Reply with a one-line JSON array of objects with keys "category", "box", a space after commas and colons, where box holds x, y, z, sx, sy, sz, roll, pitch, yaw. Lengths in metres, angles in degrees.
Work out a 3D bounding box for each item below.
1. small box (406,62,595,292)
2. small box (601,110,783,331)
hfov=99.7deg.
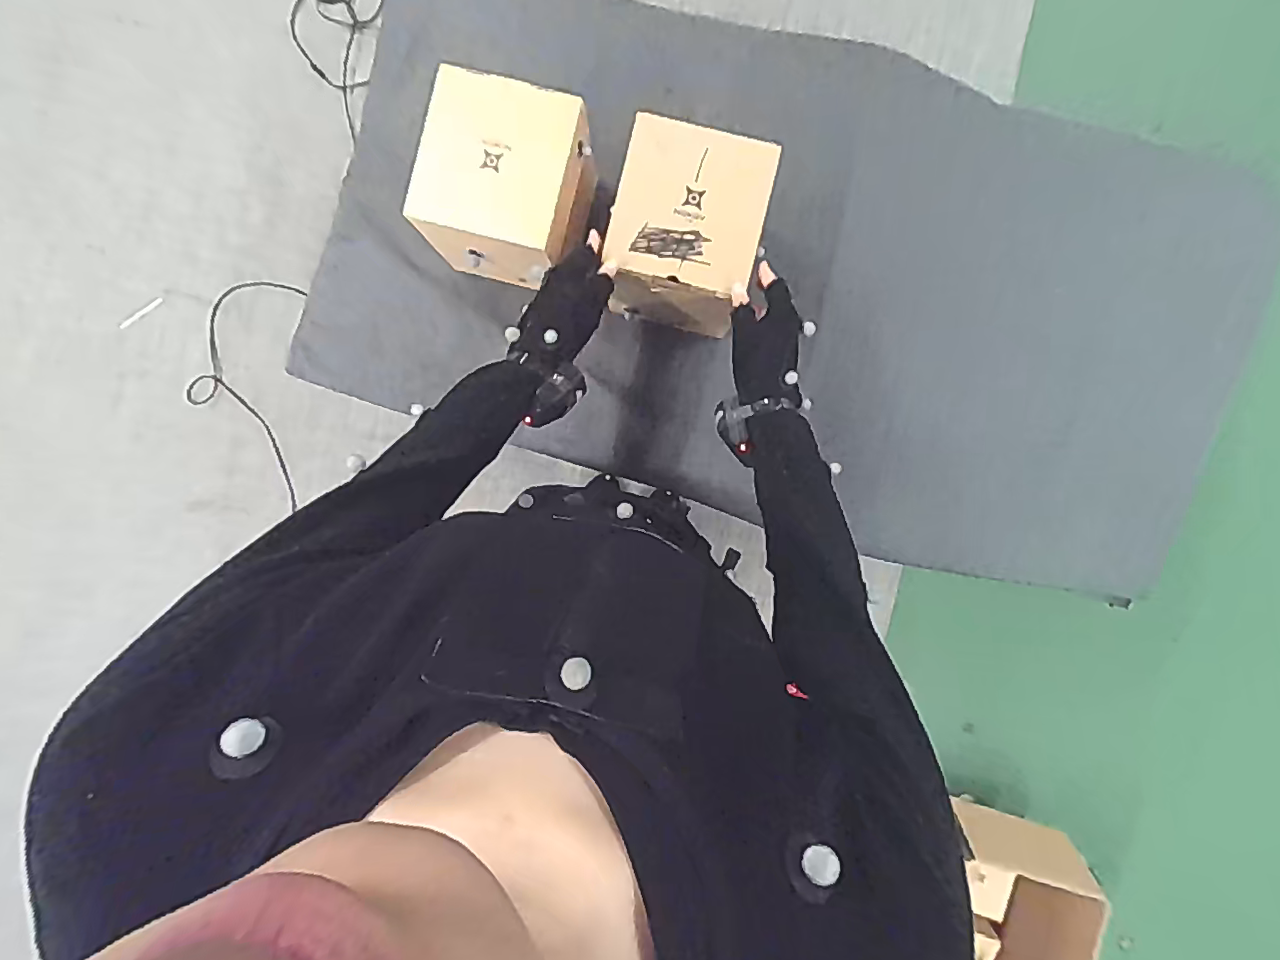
[{"category": "small box", "box": [-0.158, -0.357, 0.672, 0.168, 0.176, 0.179, 14, 90, 1]}, {"category": "small box", "box": [0.059, -0.301, 0.668, 0.168, 0.176, 0.179, 14, 90, 1]}]
